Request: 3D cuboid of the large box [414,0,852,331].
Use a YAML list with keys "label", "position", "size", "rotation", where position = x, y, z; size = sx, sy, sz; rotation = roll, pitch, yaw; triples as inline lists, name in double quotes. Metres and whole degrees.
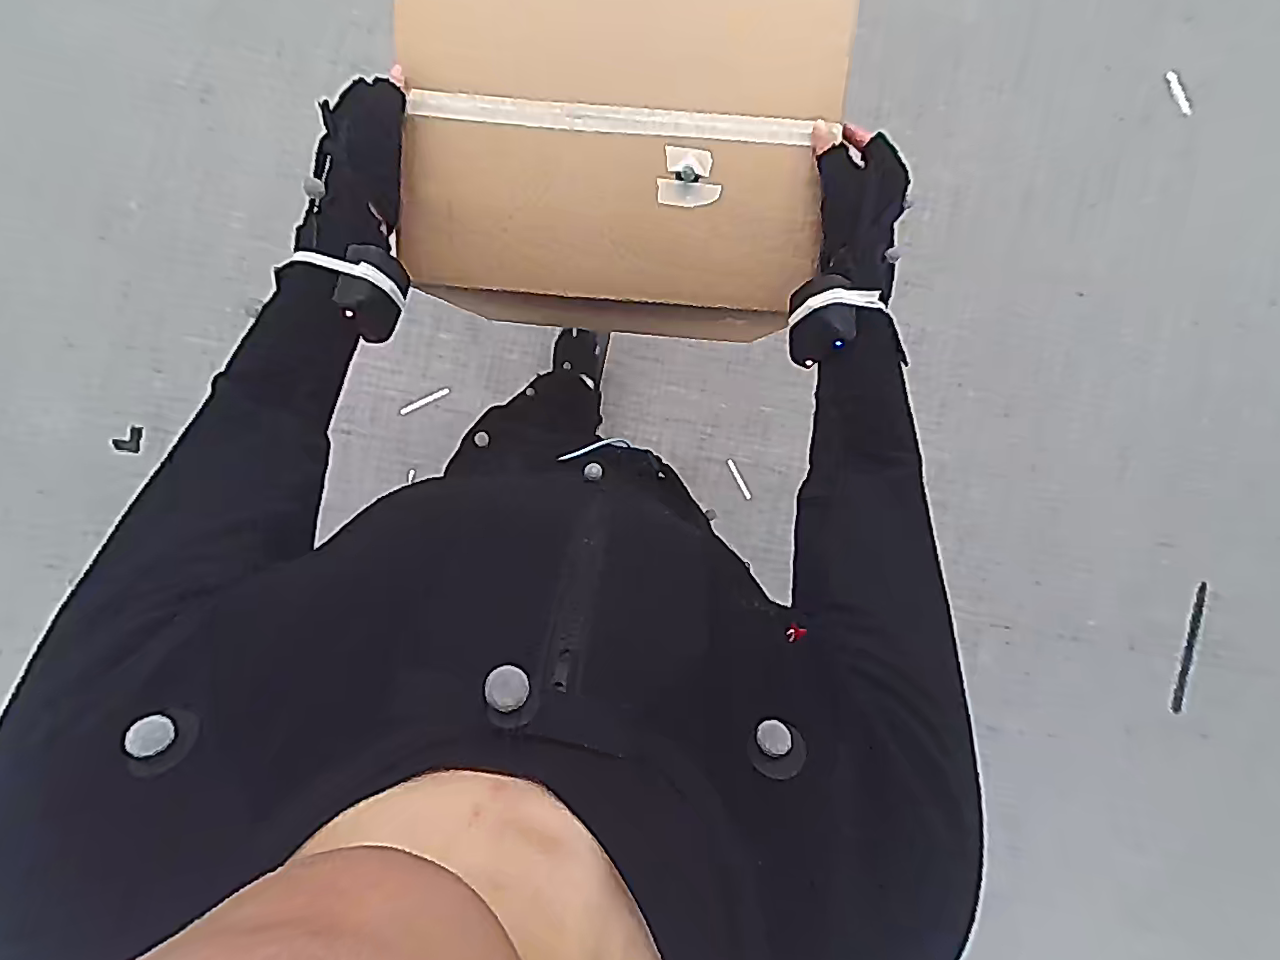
- label: "large box"
  position: [-0.014, -0.364, 0.652]
  size: [0.408, 0.320, 0.320]
  rotation: [4, 100, -1]
